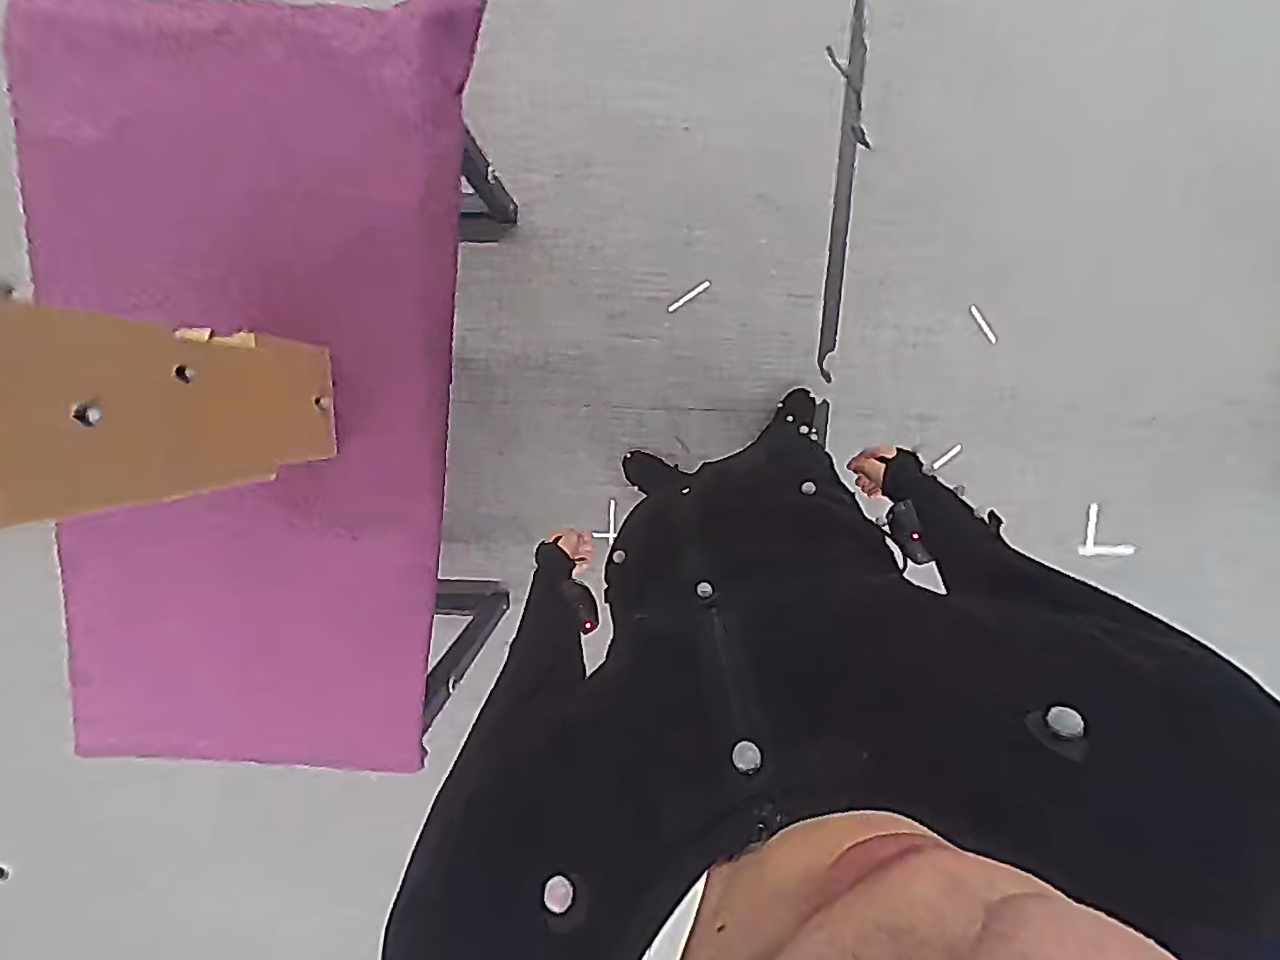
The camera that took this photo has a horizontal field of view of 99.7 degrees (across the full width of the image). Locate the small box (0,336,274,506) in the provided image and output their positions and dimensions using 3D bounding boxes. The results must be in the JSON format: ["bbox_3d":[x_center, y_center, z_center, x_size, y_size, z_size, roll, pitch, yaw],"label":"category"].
[{"bbox_3d":[-0.568,-0.070,0.638,0.168,0.176,0.179,0,97,1],"label":"small box"}]

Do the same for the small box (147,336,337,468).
[{"bbox_3d":[-0.576,-0.110,0.797,0.168,0.176,0.179,0,97,2],"label":"small box"}]
